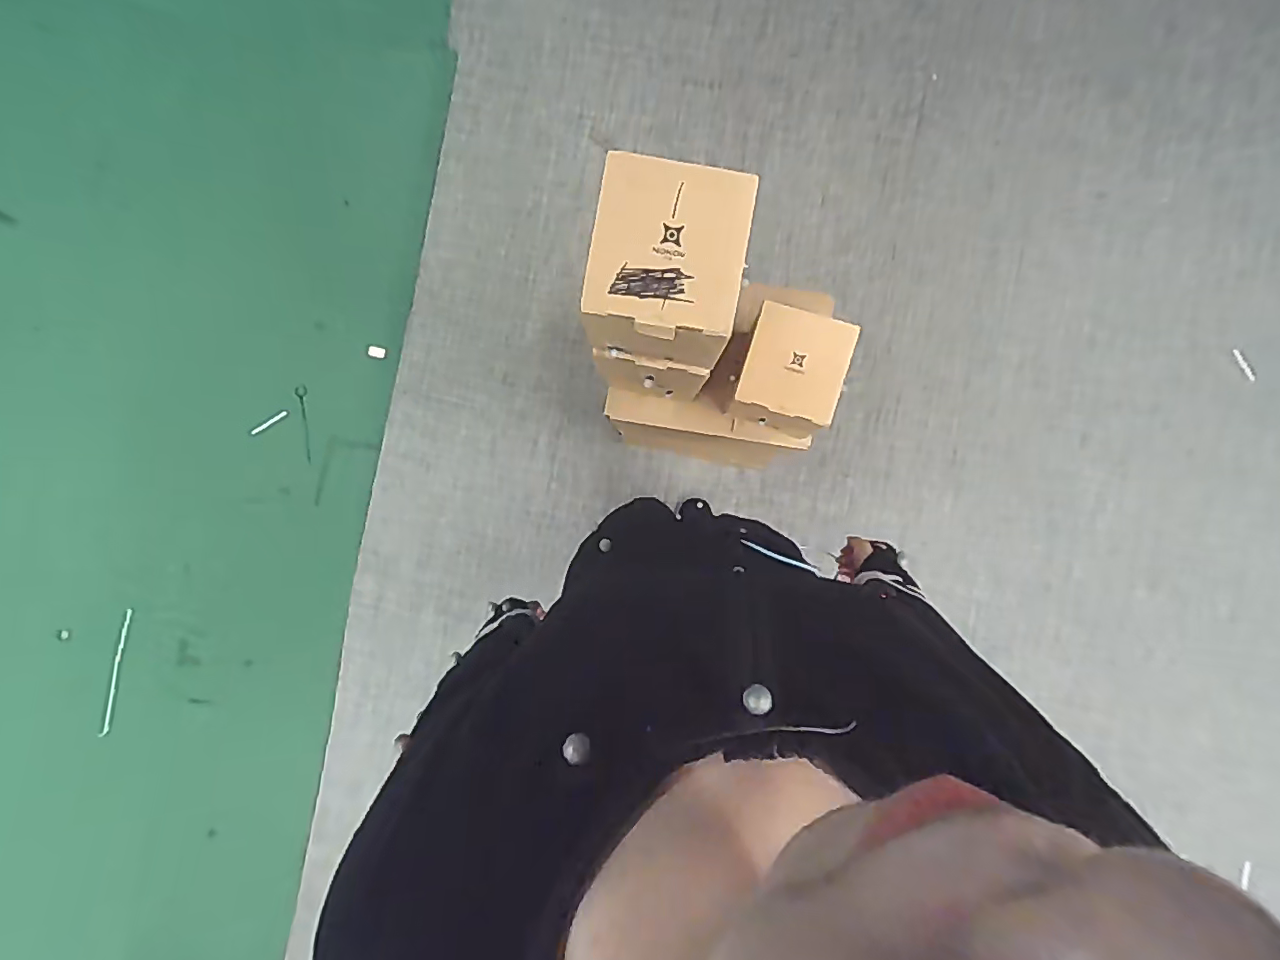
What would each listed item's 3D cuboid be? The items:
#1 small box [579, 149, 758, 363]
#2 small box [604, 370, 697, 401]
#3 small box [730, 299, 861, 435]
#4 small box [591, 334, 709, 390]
[{"bbox_3d":[0.032,-0.250,0.649,0.168,0.176,0.179,10,89,0],"label":"small box"},{"bbox_3d":[0.038,-0.250,0.977,0.168,0.176,0.179,12,89,1],"label":"small box"},{"bbox_3d":[0.265,-0.192,0.964,0.168,0.176,0.179,17,90,4],"label":"small box"},{"bbox_3d":[0.030,-0.241,0.813,0.168,0.176,0.179,10,91,0],"label":"small box"}]
